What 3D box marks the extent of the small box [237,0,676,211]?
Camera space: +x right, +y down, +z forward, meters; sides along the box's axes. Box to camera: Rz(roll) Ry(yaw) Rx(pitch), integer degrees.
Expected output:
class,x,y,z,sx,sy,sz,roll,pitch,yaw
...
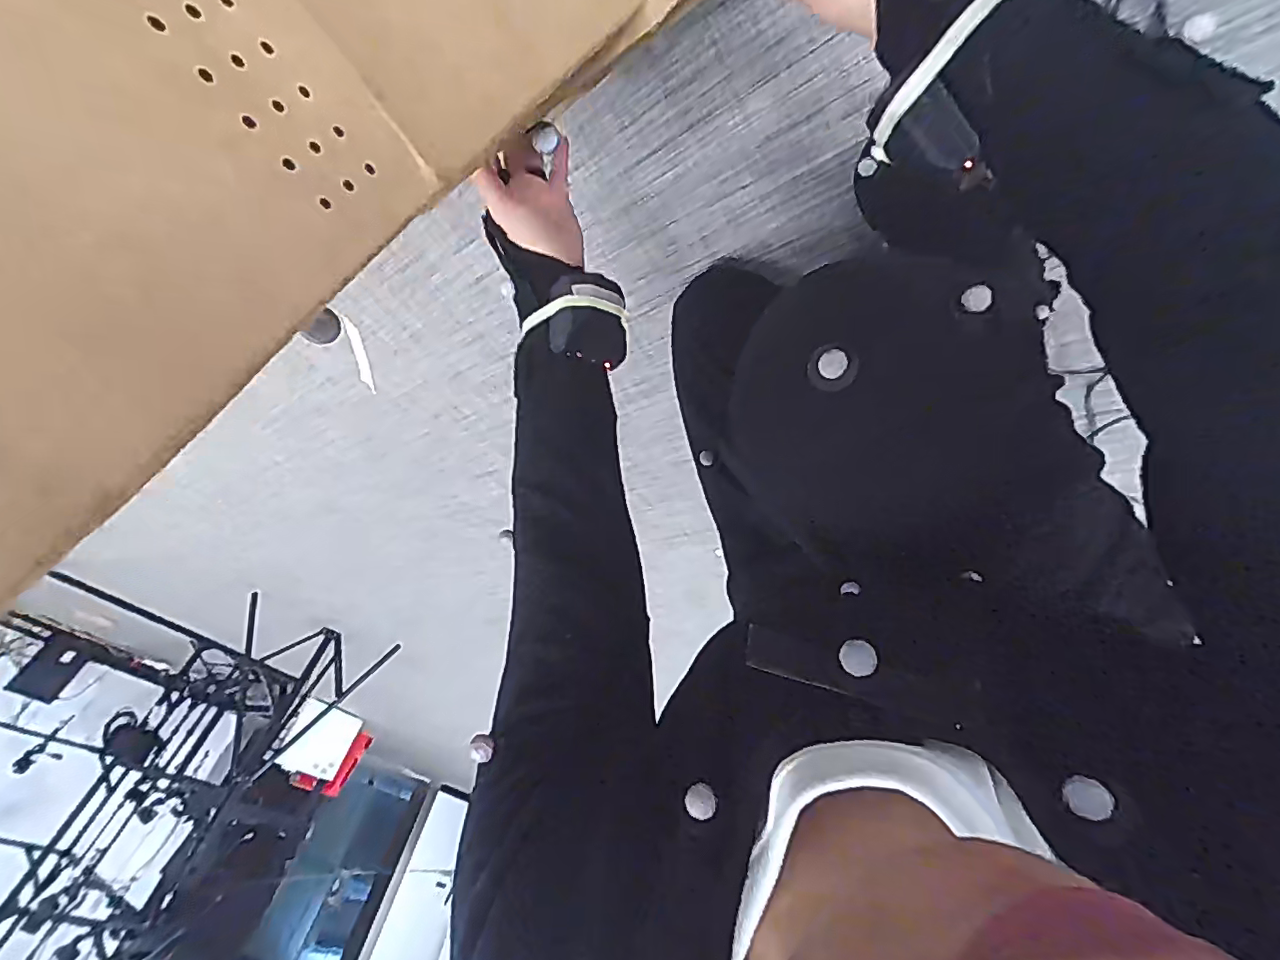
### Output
class,x,y,z,sx,sy,sz,roll,pitch,yaw
small box,-0.084,-0.281,0.264,0.179,0.176,0.168,-13,134,36
